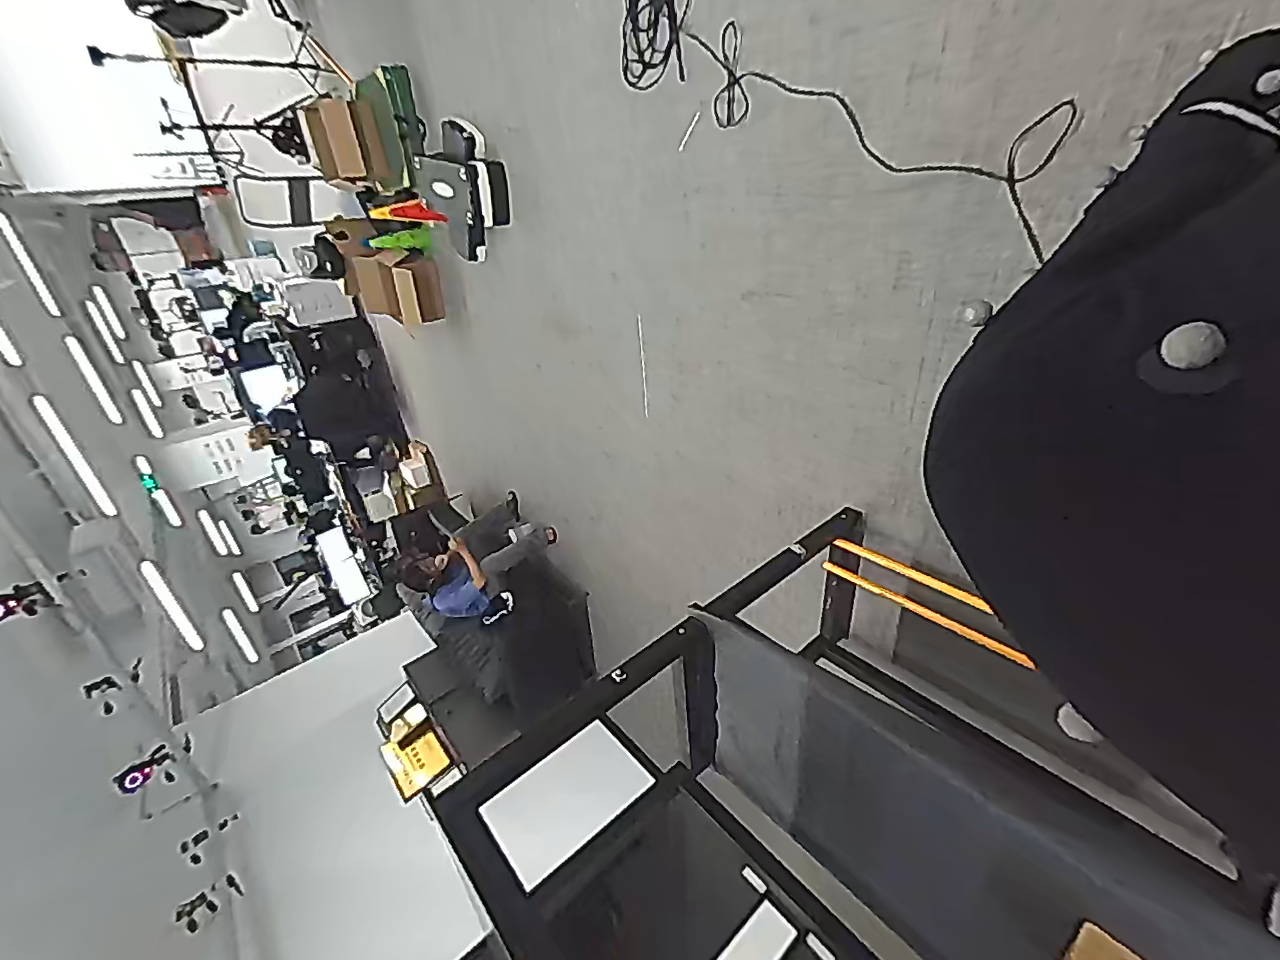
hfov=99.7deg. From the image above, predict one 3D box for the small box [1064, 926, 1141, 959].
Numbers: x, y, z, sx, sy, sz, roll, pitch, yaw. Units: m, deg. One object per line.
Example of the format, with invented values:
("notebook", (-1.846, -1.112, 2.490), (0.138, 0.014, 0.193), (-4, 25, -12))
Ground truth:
("small box", (0.716, 0.830, 0.805), (0.168, 0.176, 0.179), (25, 131, 45))
